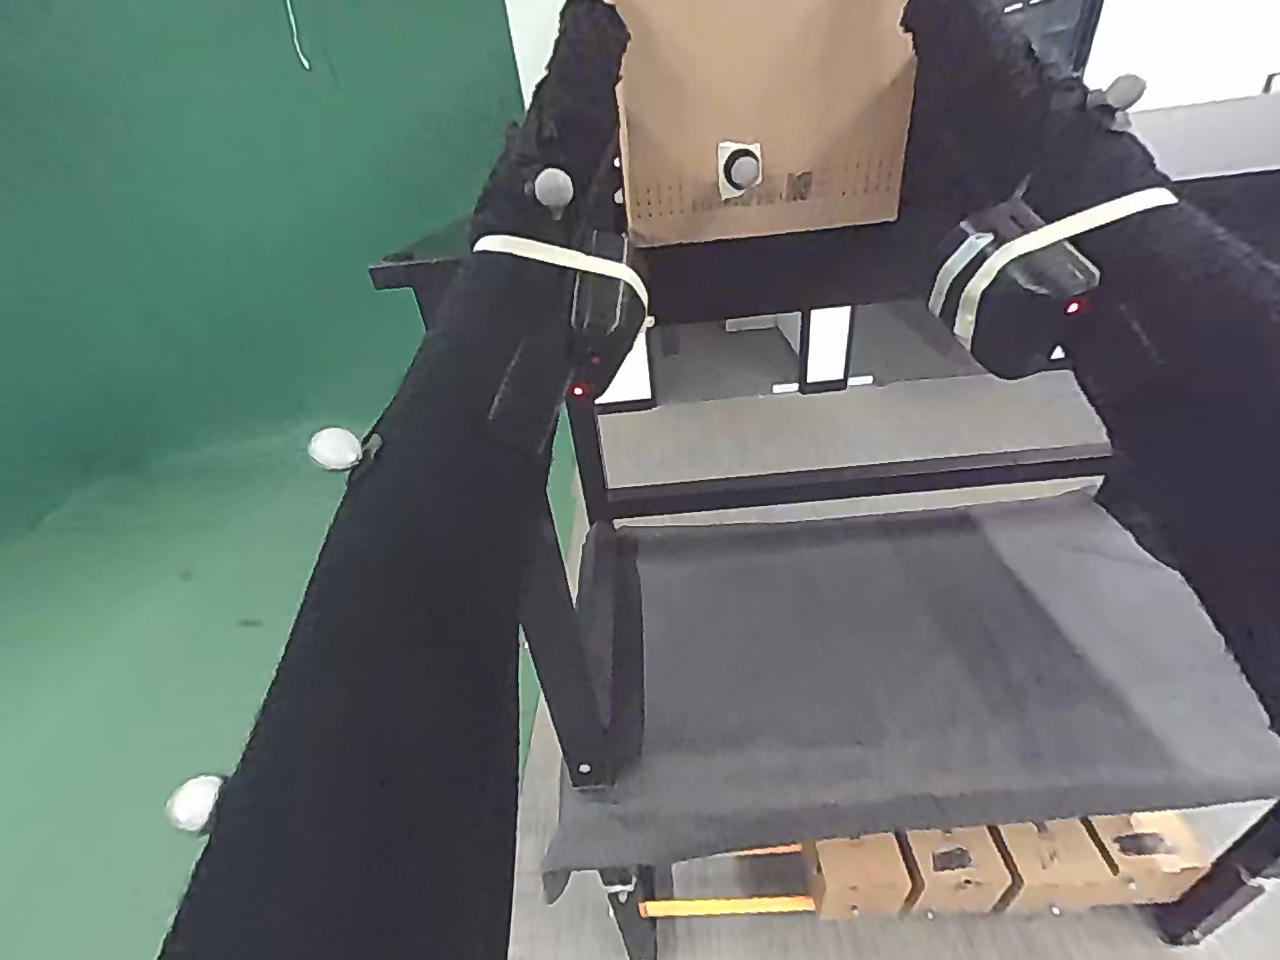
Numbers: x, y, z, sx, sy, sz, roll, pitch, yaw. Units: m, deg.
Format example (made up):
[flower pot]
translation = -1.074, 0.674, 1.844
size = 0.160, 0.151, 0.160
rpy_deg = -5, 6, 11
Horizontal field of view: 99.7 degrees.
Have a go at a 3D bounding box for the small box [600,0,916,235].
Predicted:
[small box]
translation = 0.062, -0.270, 0.359
size = 0.168, 0.176, 0.179
rpy_deg = -6, 34, 3
